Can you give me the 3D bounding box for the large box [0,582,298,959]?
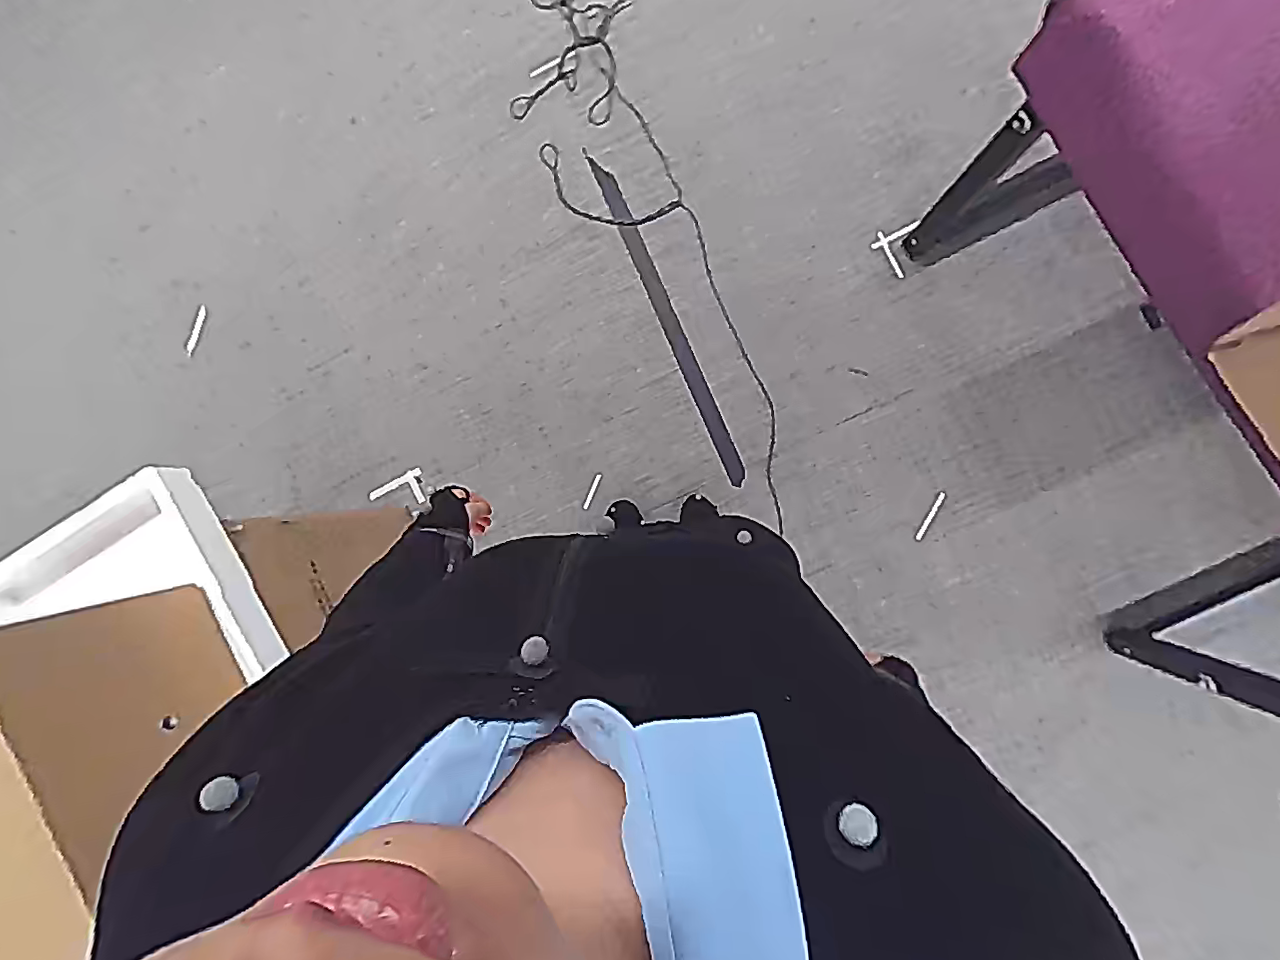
[{"bbox_3d":[-0.803,0.415,0.772,0.320,0.320,0.408,-28,89,6],"label":"large box"}]
